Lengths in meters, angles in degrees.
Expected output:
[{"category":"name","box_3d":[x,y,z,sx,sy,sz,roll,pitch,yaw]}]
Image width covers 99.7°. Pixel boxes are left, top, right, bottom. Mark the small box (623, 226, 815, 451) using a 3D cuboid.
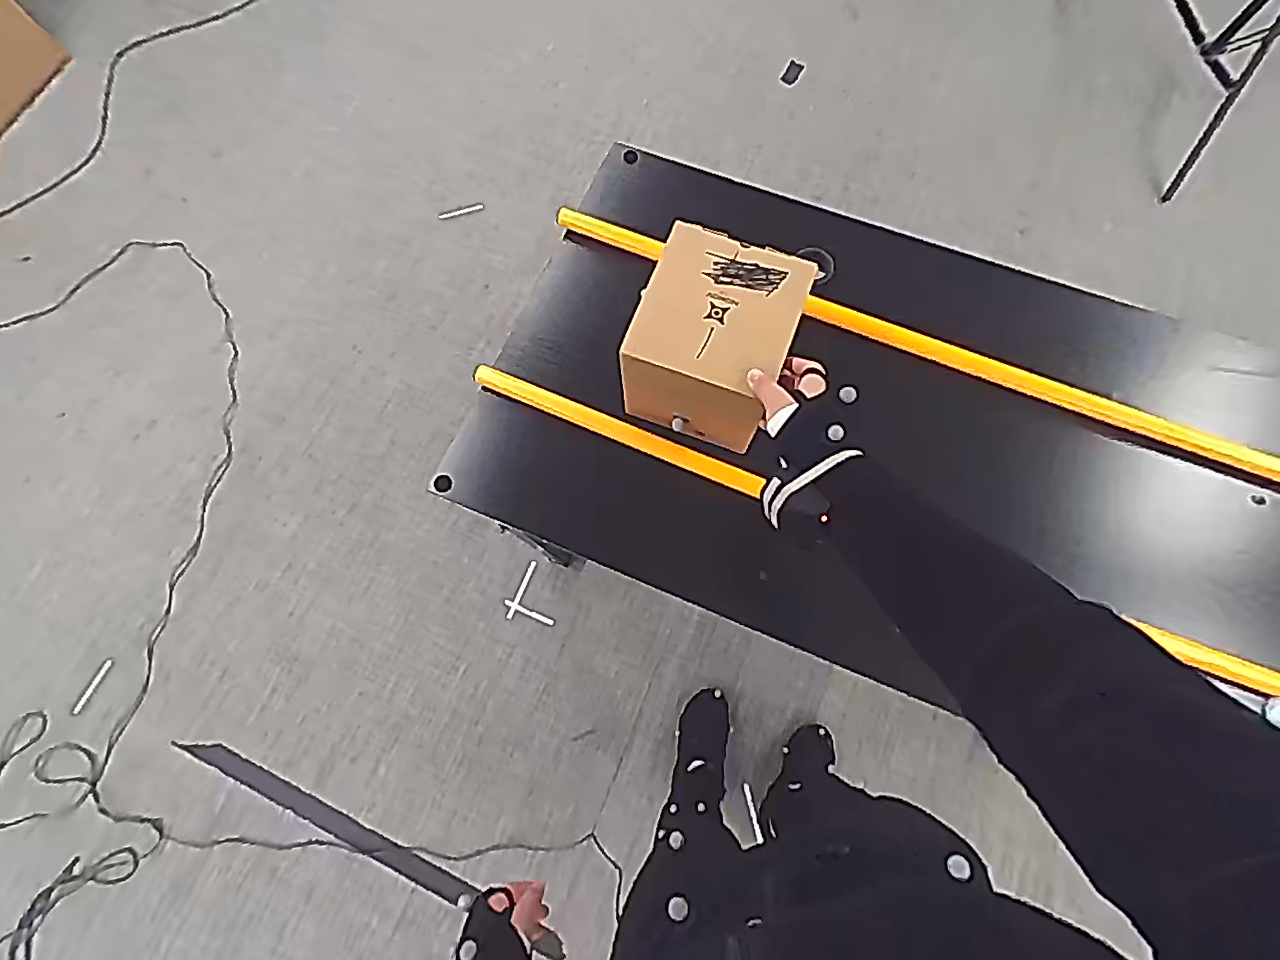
[{"category":"small box","box_3d":[0.088,-0.160,0.656,0.168,0.176,0.179,20,76,7]}]
